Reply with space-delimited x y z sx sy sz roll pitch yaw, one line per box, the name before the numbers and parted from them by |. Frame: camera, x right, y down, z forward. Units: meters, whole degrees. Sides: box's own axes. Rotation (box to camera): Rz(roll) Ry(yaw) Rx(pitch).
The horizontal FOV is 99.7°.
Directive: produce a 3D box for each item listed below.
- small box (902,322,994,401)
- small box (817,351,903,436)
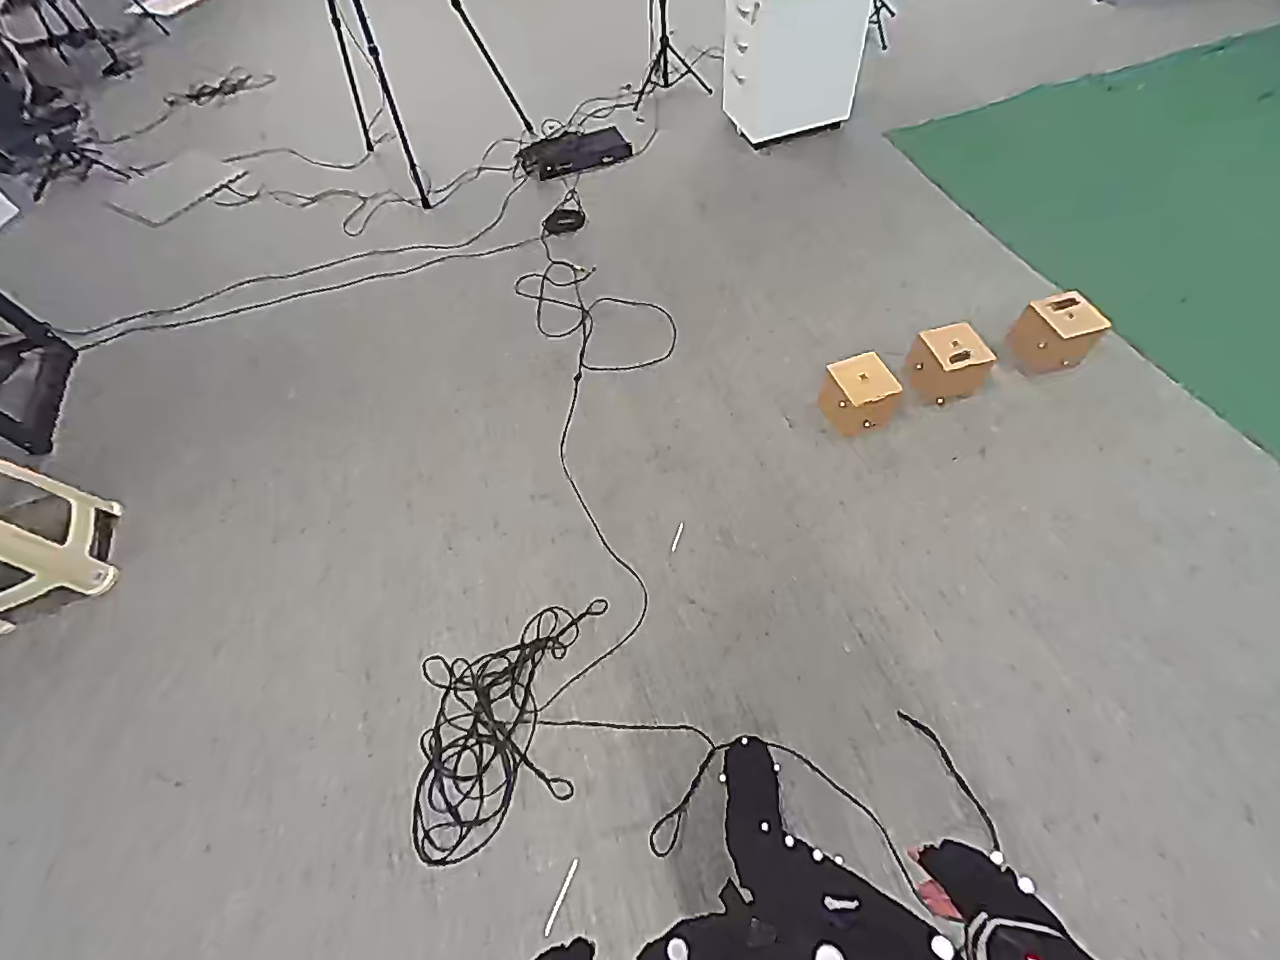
small box | 0.975 -0.371 1.728 0.168 0.176 0.179 -13 57 -3
small box | 0.679 -0.268 1.697 0.168 0.176 0.179 -19 58 -5
